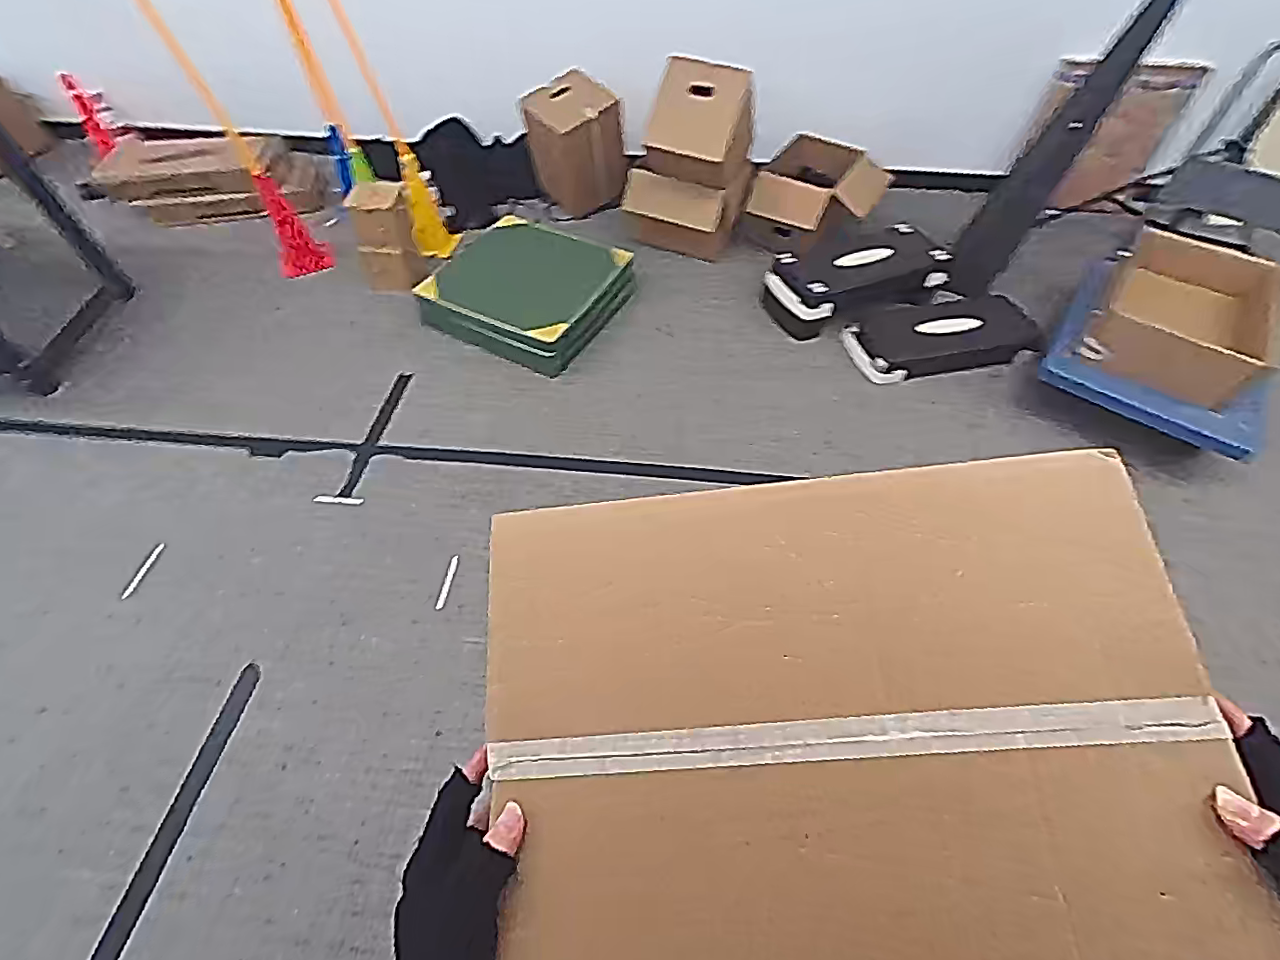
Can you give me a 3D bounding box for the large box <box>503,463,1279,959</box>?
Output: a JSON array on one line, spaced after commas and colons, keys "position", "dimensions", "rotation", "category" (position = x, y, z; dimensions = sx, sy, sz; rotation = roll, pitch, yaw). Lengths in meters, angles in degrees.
[{"position": [0.129, 0.205, 0.459], "dimensions": [0.408, 0.320, 0.320], "rotation": [-7, 72, 6], "category": "large box"}]
